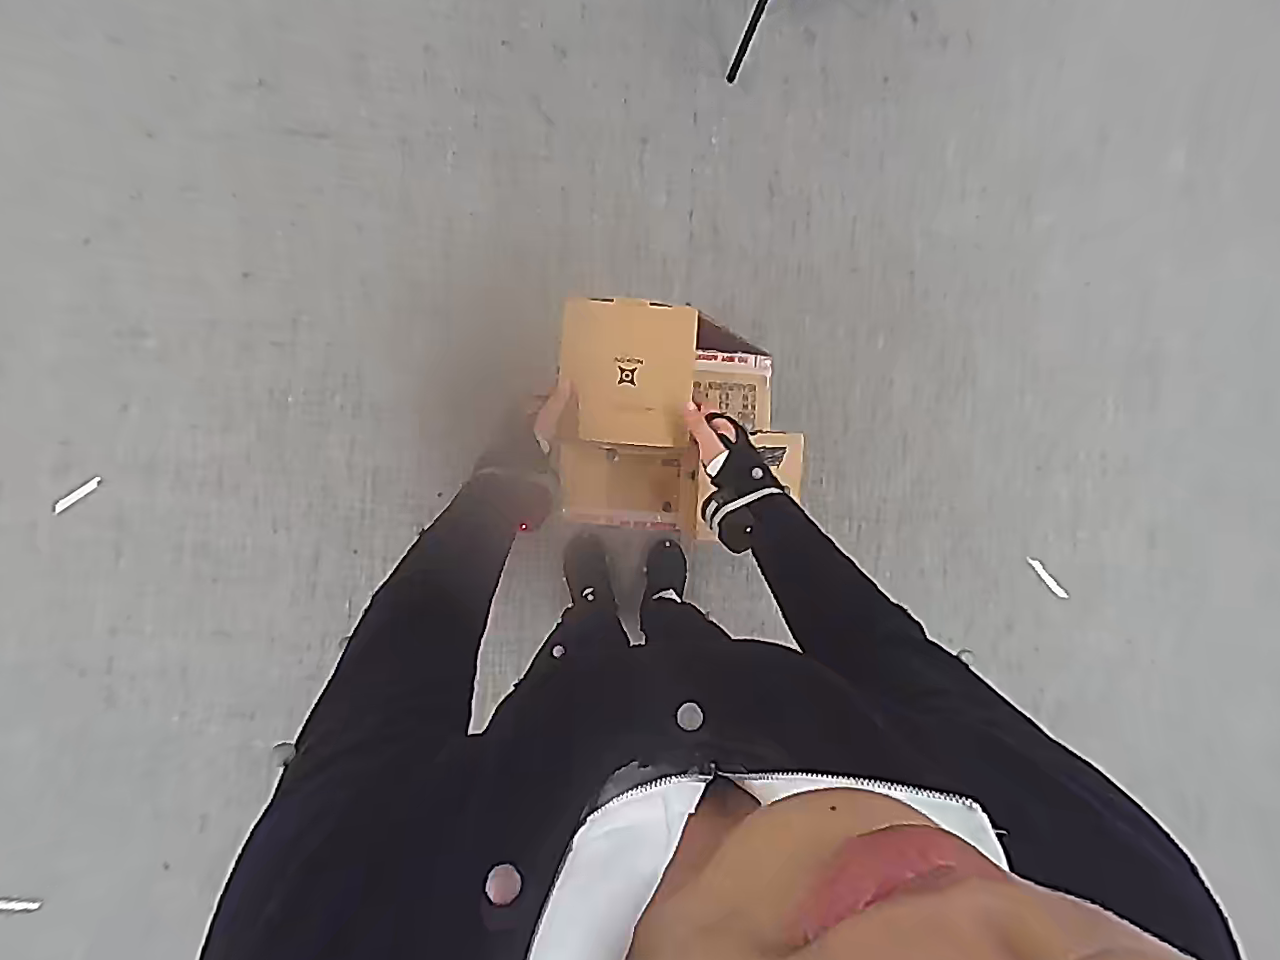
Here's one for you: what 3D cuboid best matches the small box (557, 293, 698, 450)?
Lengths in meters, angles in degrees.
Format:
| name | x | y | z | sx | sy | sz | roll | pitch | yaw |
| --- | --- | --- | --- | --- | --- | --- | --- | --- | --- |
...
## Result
| name | x | y | z | sx | sy | sz | roll | pitch | yaw |
| --- | --- | --- | --- | --- | --- | --- | --- | --- | --- |
| small box | -0.021 | -0.136 | 0.738 | 0.168 | 0.176 | 0.179 | 3 | 91 | -3 |

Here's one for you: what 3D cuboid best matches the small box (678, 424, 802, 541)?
| name | x | y | z | sx | sy | sz | roll | pitch | yaw |
| --- | --- | --- | --- | --- | --- | --- | --- | --- | --- |
| small box | 0.161 | 0.003 | 0.918 | 0.168 | 0.176 | 0.179 | 3 | 91 | -5 |
